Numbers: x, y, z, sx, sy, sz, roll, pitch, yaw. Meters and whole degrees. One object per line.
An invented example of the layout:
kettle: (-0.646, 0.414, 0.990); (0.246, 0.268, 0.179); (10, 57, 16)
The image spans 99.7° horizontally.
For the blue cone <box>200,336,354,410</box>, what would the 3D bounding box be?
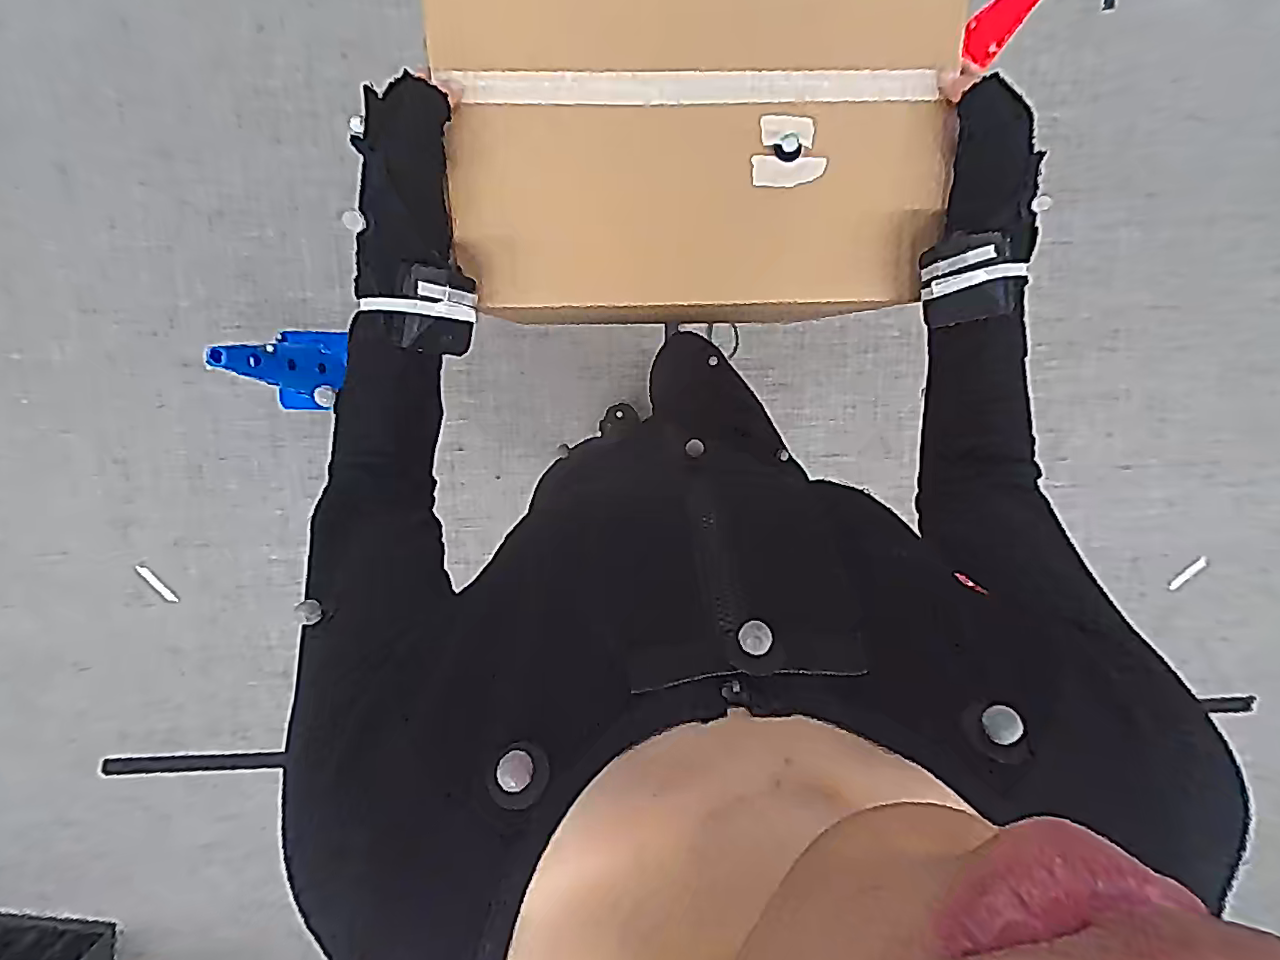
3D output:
blue cone: (-0.837, -0.257, 1.241); (0.192, 0.380, 0.193); (2, 97, -1)

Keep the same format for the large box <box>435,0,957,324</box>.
large box: (0.037, -0.340, 0.565); (0.408, 0.320, 0.320); (-2, 103, -3)

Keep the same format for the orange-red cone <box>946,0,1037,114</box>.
orange-red cone: (0.784, -1.015, 1.199); (0.198, 0.360, 0.199); (-4, 96, -3)
